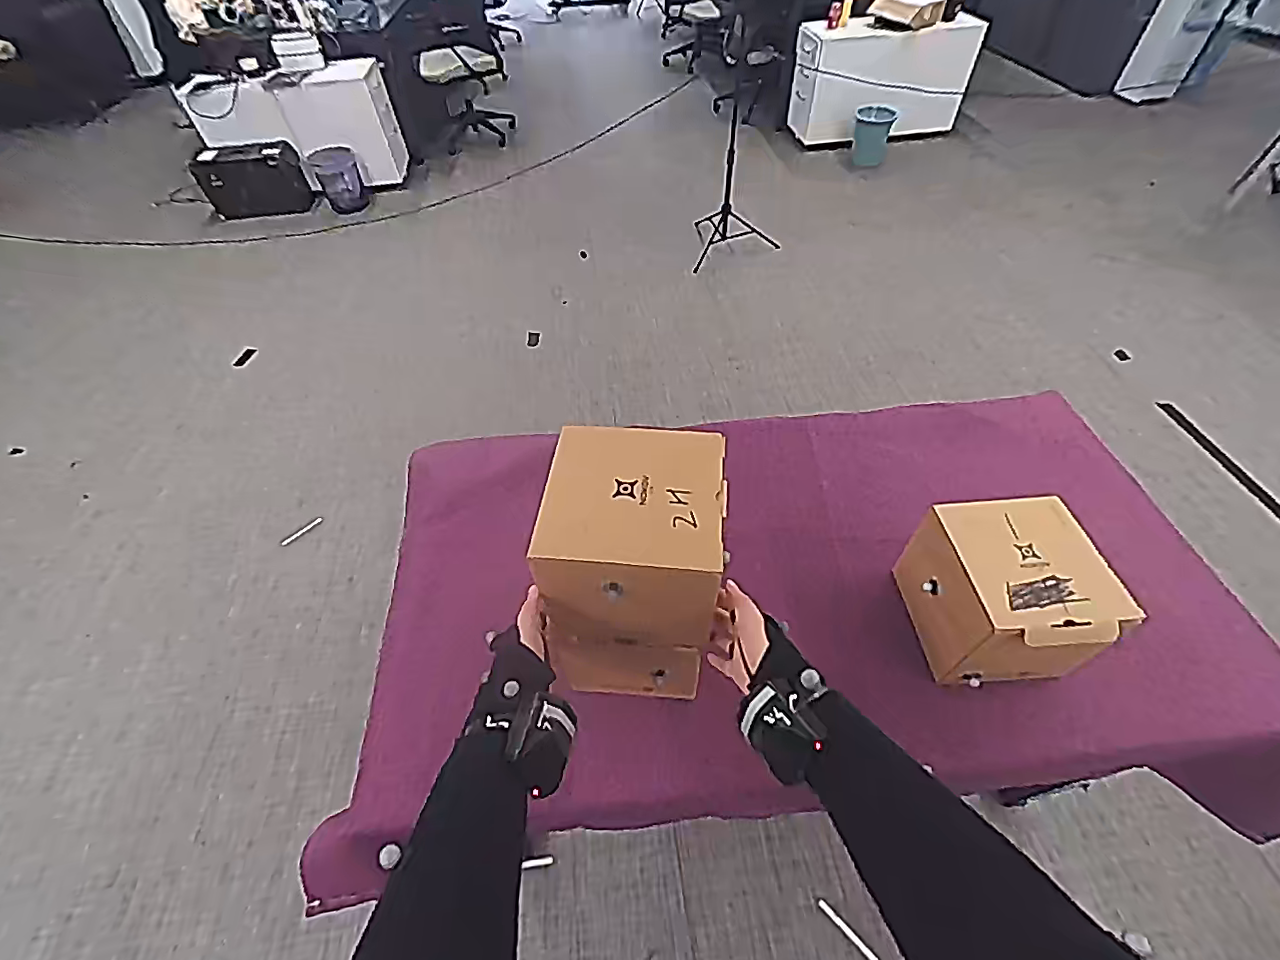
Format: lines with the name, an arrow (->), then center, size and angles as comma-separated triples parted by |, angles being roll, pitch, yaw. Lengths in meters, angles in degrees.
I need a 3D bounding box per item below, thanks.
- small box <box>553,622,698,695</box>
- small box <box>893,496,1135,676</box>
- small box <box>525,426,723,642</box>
small box -> -0.006, 0.167, 0.709 | 0.168, 0.176, 0.179 | 3, 51, 4
small box -> 0.458, 0.144, 0.701 | 0.168, 0.176, 0.179 | -4, 50, 0
small box -> -0.006, 0.062, 0.583 | 0.179, 0.176, 0.168 | 4, 52, 5
